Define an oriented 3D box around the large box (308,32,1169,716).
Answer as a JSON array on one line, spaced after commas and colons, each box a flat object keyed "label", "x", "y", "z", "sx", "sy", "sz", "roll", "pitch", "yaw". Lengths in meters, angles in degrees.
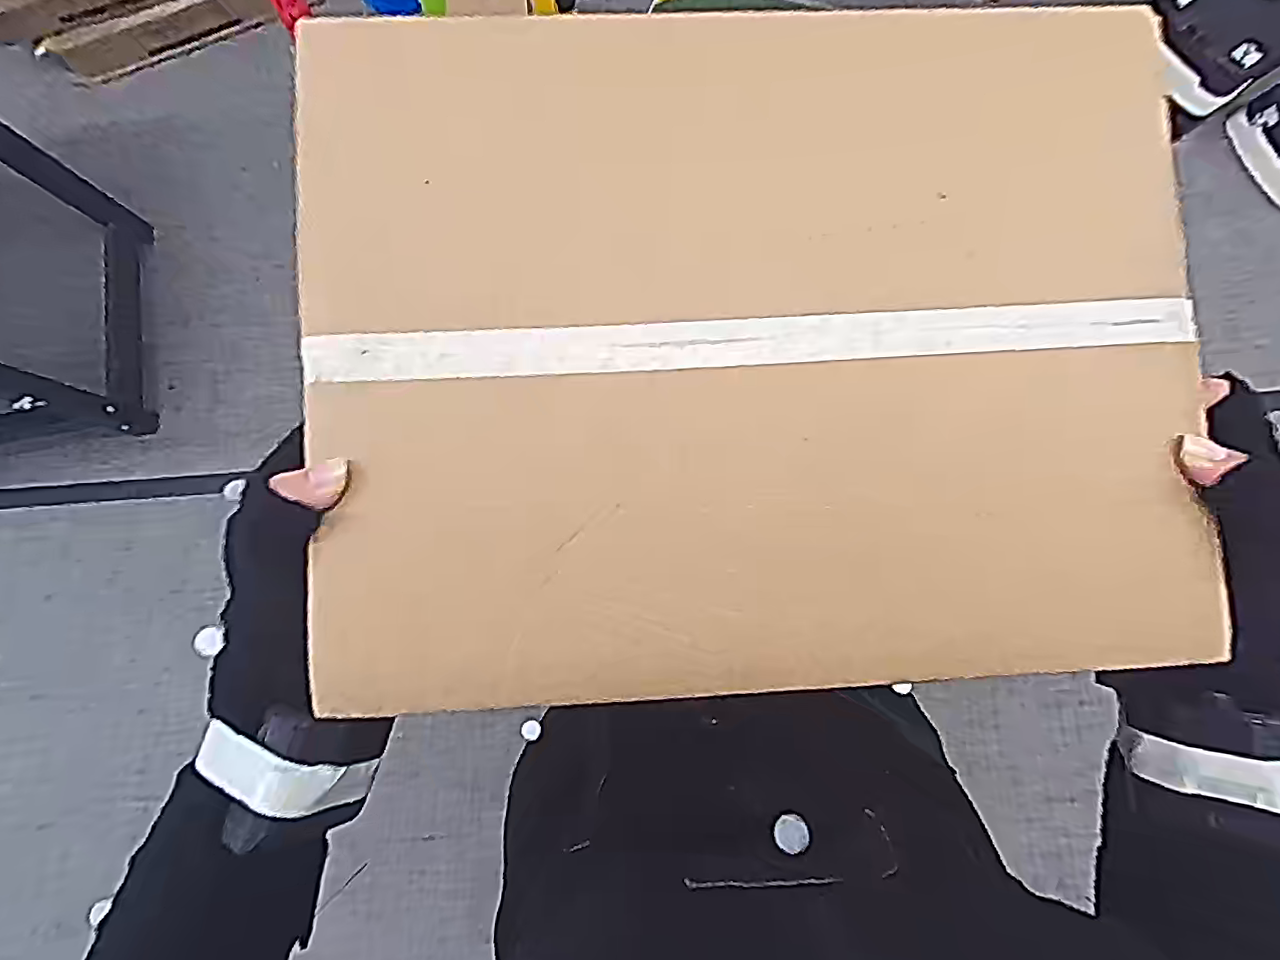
[{"label": "large box", "x": 0.045, "y": -0.053, "z": 0.408, "sx": 0.408, "sy": 0.320, "sz": 0.320, "roll": -4, "pitch": 86, "yaw": -2}]
